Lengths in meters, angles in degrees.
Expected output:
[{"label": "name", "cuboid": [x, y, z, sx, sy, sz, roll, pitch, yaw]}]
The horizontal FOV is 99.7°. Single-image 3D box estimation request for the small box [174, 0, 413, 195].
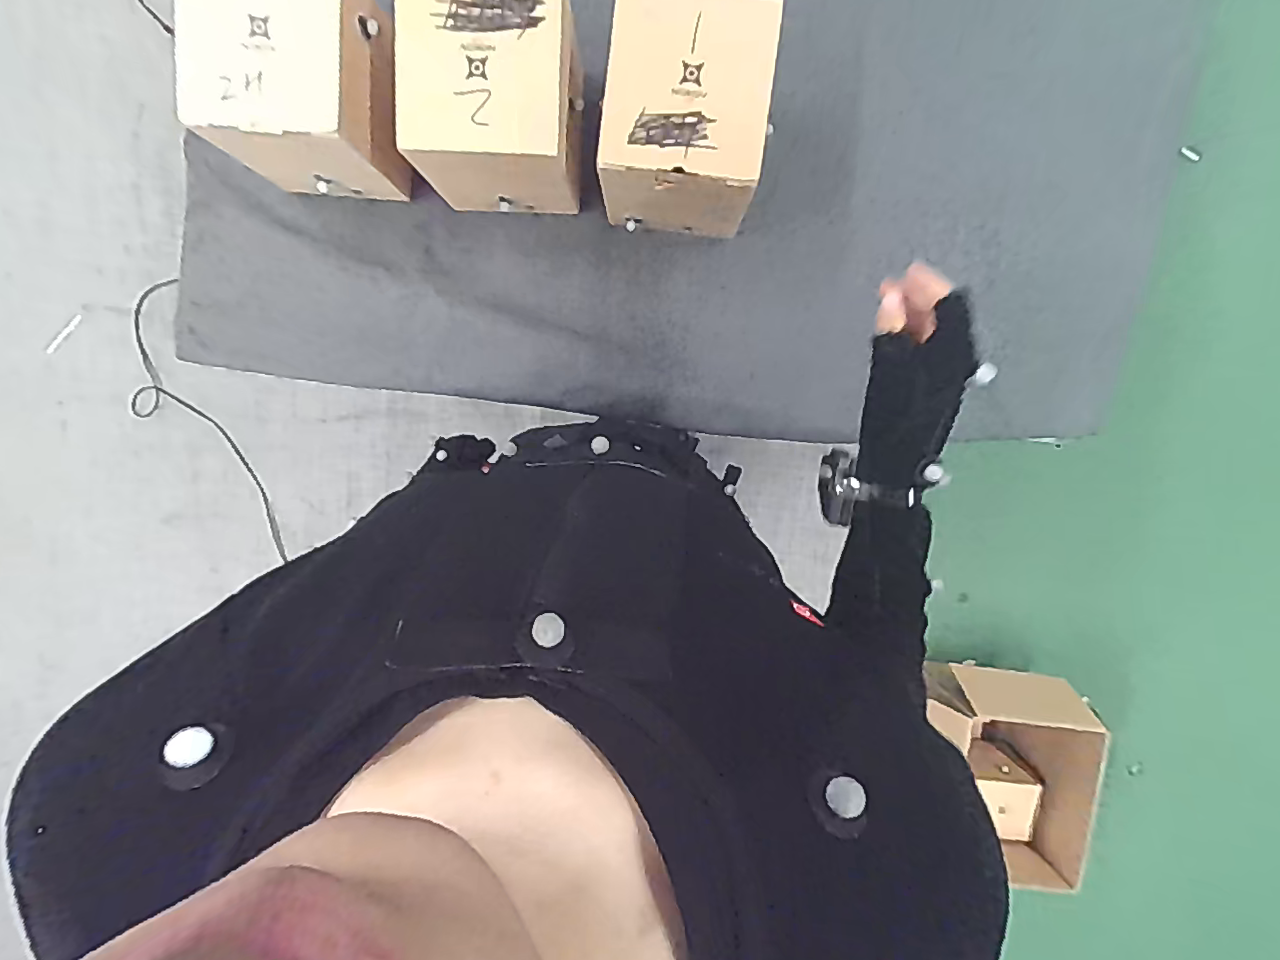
[{"label": "small box", "cuboid": [-0.372, -0.453, 0.610, 0.168, 0.176, 0.179, 5, 97, 0]}]
